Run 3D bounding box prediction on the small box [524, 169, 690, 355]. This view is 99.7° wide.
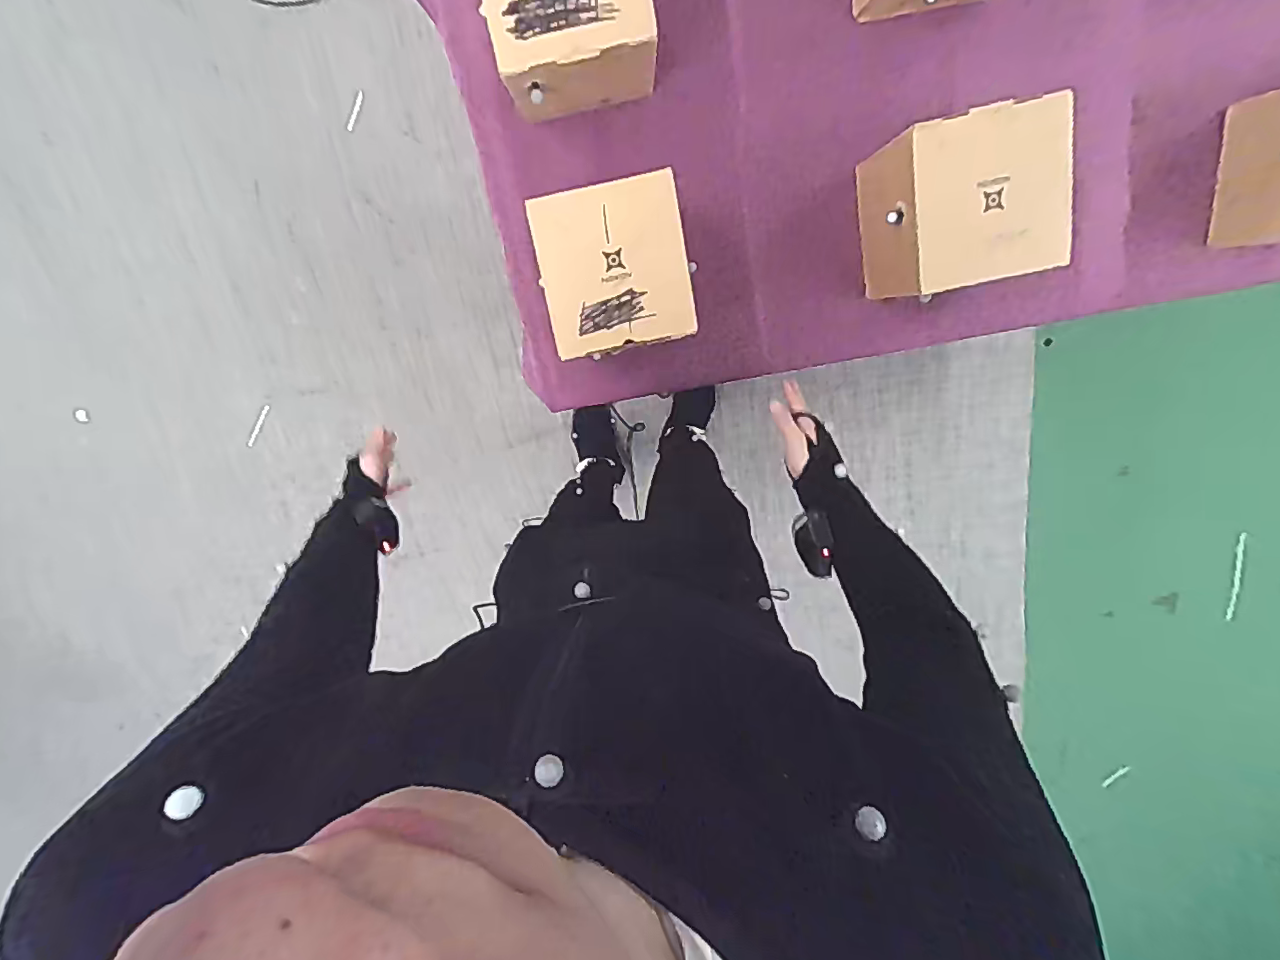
[{"bbox_3d":[-0.031,-0.268,0.692,0.168,0.176,0.179,-10,106,4],"label":"small box"}]

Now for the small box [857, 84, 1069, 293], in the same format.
[{"bbox_3d":[0.378,-0.336,0.661,0.168,0.176,0.179,-10,107,6],"label":"small box"}]

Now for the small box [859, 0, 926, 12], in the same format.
[{"bbox_3d":[0.329,-0.643,0.561,0.168,0.176,0.179,-9,110,4],"label":"small box"}]

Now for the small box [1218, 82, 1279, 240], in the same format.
[{"bbox_3d":[0.842,-0.392,0.627,0.168,0.176,0.179,-9,108,6],"label":"small box"}]
